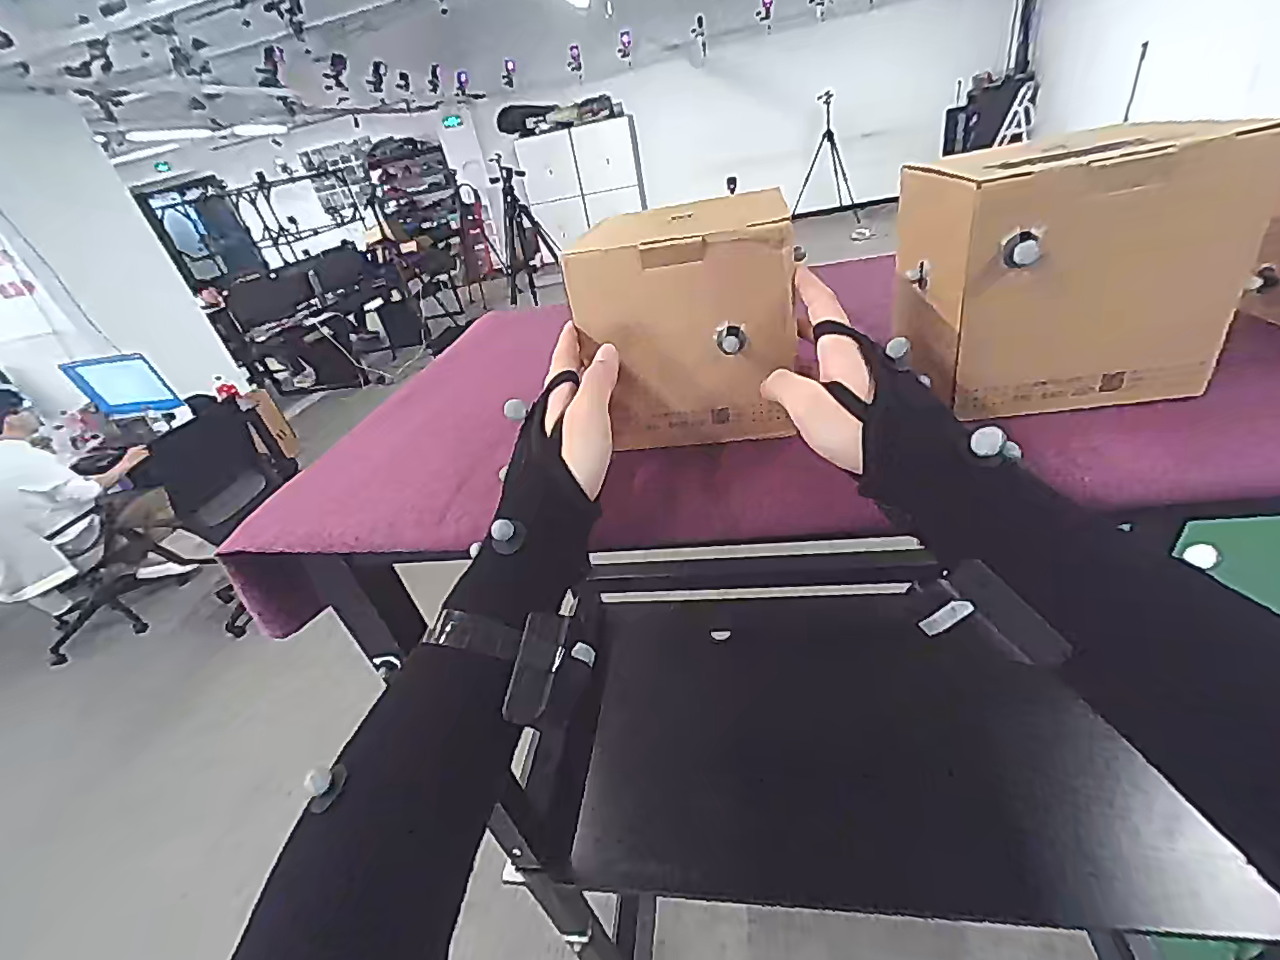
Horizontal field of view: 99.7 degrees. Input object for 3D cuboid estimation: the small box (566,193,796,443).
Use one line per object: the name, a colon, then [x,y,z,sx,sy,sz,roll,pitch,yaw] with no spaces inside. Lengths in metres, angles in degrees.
small box: [0.051,-0.142,0.491,0.168,0.176,0.179,-3,33,13]
